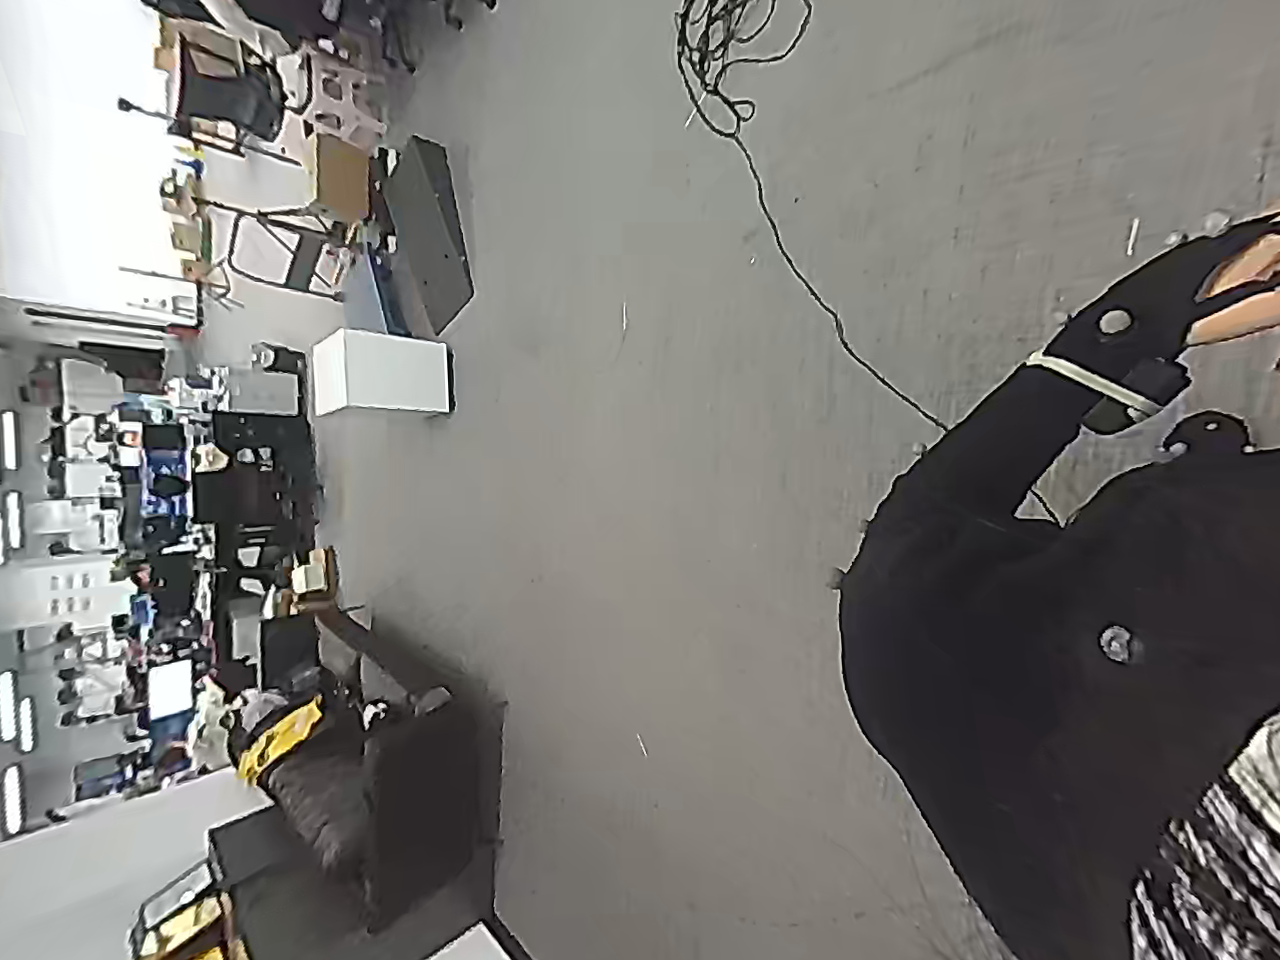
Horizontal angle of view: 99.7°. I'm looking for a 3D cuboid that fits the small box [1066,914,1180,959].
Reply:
[{"bbox_3d":[1.016,1.074,1.139,0.179,0.176,0.168,3,95,44],"label":"small box"}]
